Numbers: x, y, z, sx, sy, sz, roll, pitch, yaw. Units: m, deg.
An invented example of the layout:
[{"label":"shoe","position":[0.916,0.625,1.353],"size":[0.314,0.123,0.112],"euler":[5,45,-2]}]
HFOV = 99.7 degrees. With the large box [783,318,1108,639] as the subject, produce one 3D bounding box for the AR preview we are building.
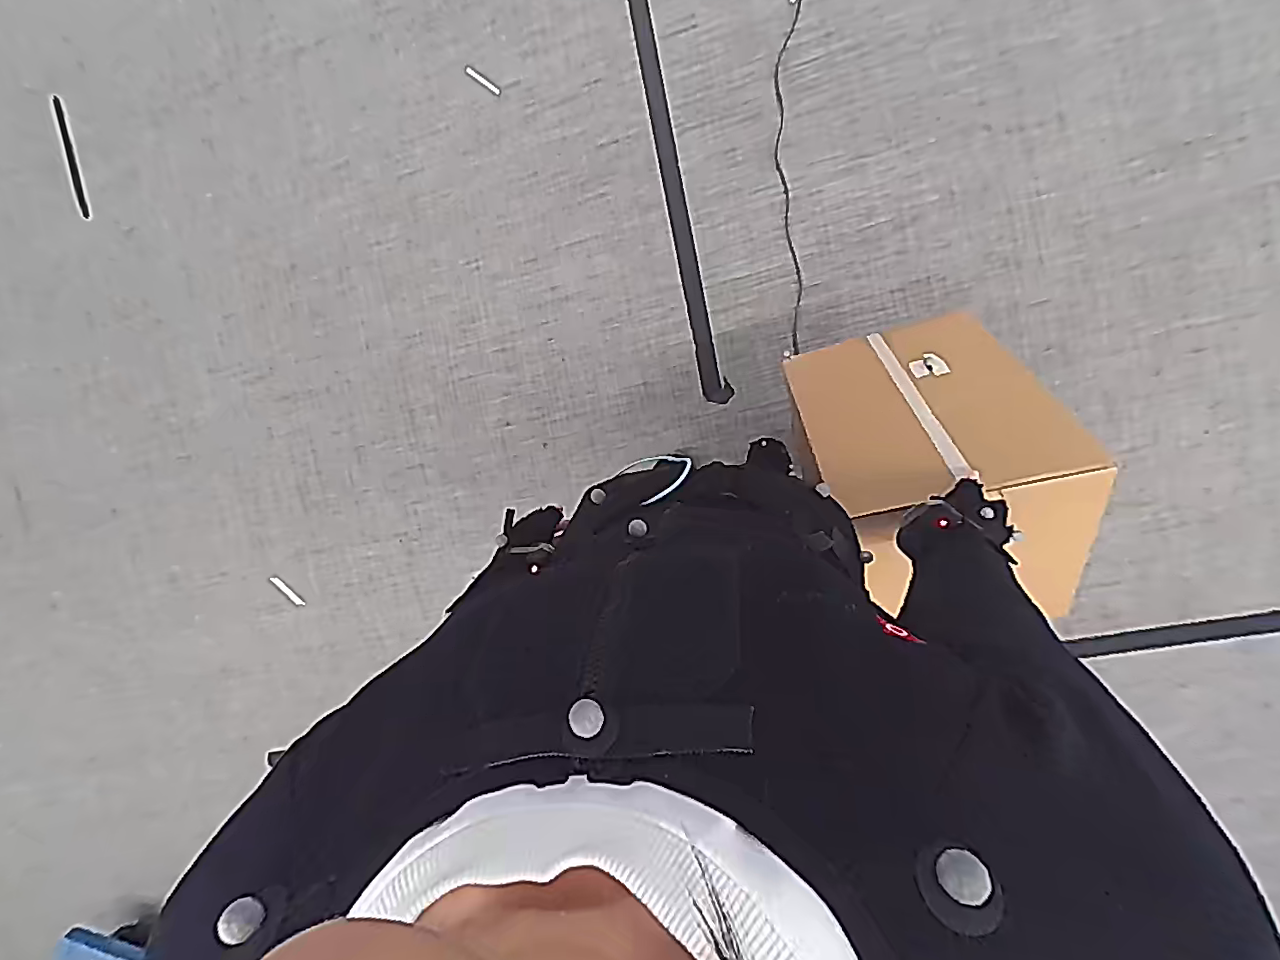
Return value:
[{"label":"large box","position":[0.454,-0.008,0.904],"size":[0.320,0.408,0.320],"euler":[-13,130,11]}]
